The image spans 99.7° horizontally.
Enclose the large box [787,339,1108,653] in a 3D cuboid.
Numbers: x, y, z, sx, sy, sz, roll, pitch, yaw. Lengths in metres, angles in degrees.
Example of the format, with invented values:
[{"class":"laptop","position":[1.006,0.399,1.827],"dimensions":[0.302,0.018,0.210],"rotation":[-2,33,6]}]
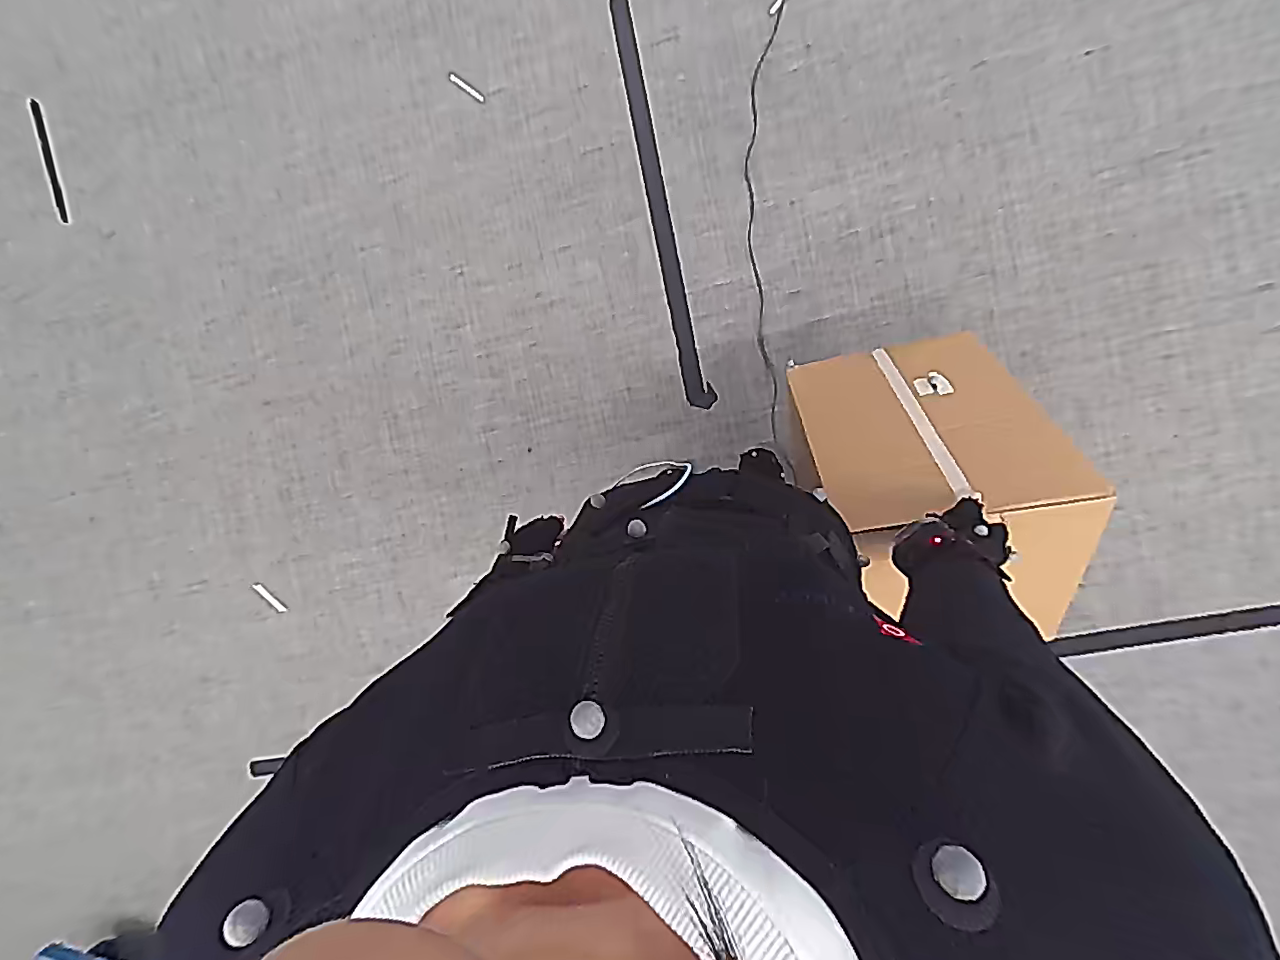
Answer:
[{"class":"large box","position":[0.450,0.020,0.907],"dimensions":[0.320,0.408,0.320],"rotation":[-9,130,9]}]
